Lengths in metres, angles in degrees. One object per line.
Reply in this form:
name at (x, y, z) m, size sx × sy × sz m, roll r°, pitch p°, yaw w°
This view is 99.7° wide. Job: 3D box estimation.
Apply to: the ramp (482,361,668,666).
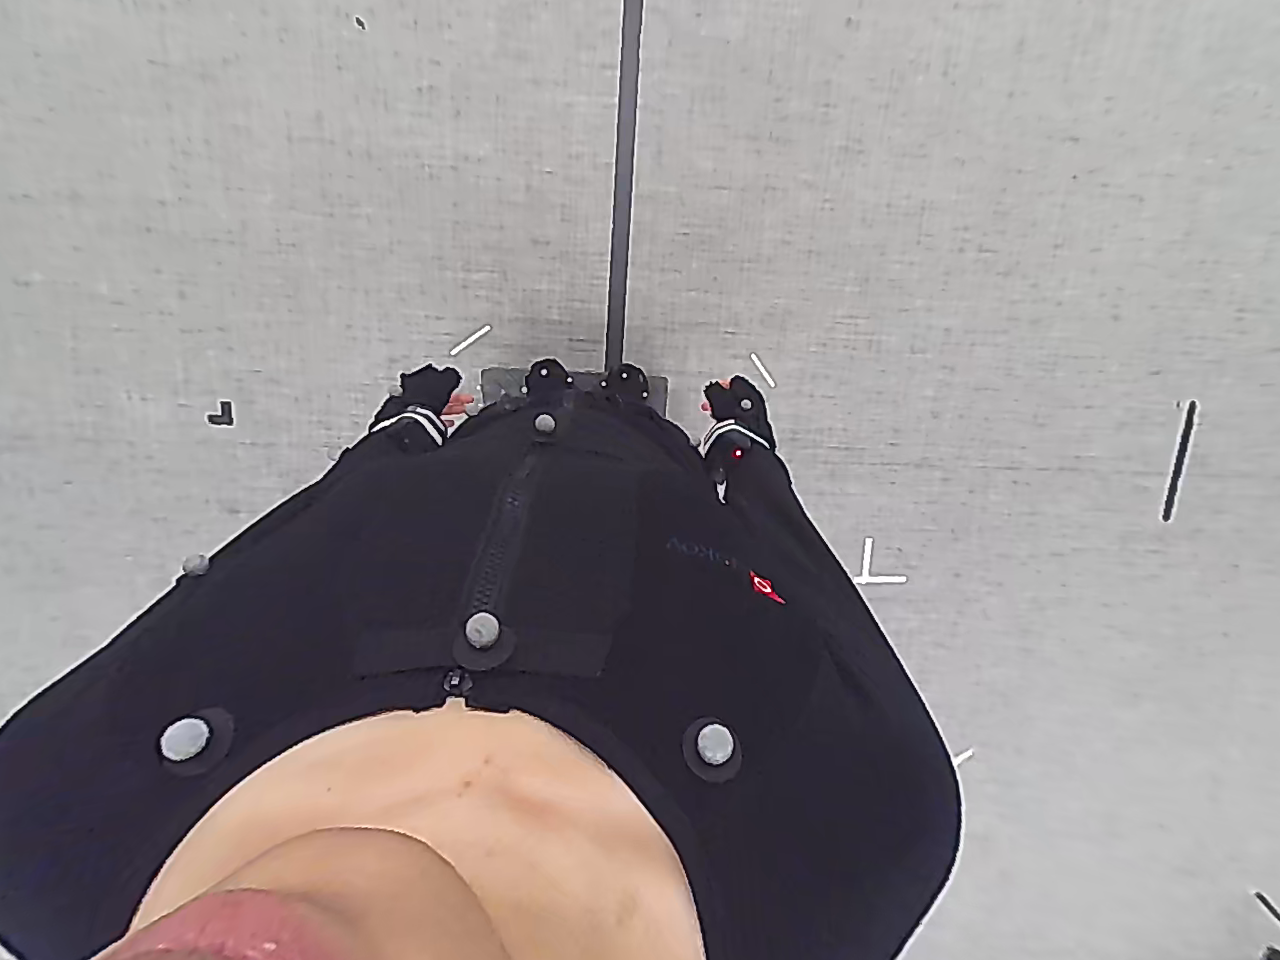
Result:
ramp at (-0.189, 0.155, 1.603) m, size 0.509 × 0.206 × 0.991 m, roll 0°, pitch 103°, yaw -4°
